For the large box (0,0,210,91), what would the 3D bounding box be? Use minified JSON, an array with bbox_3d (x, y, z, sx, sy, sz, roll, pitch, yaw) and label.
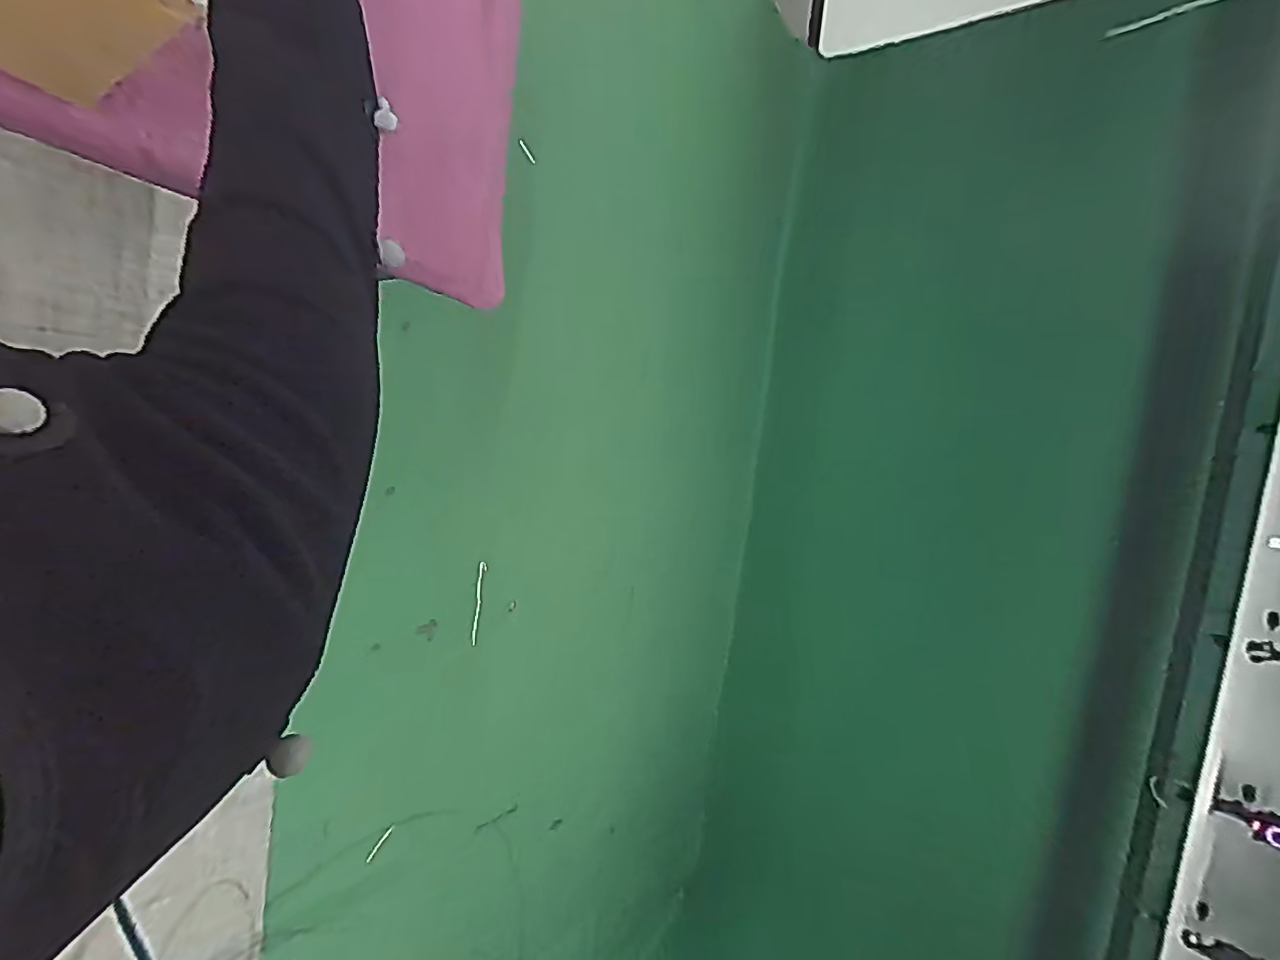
[{"bbox_3d":[-0.482,-0.562,0.326,0.320,0.320,0.408,6,93,-57],"label":"large box"}]
